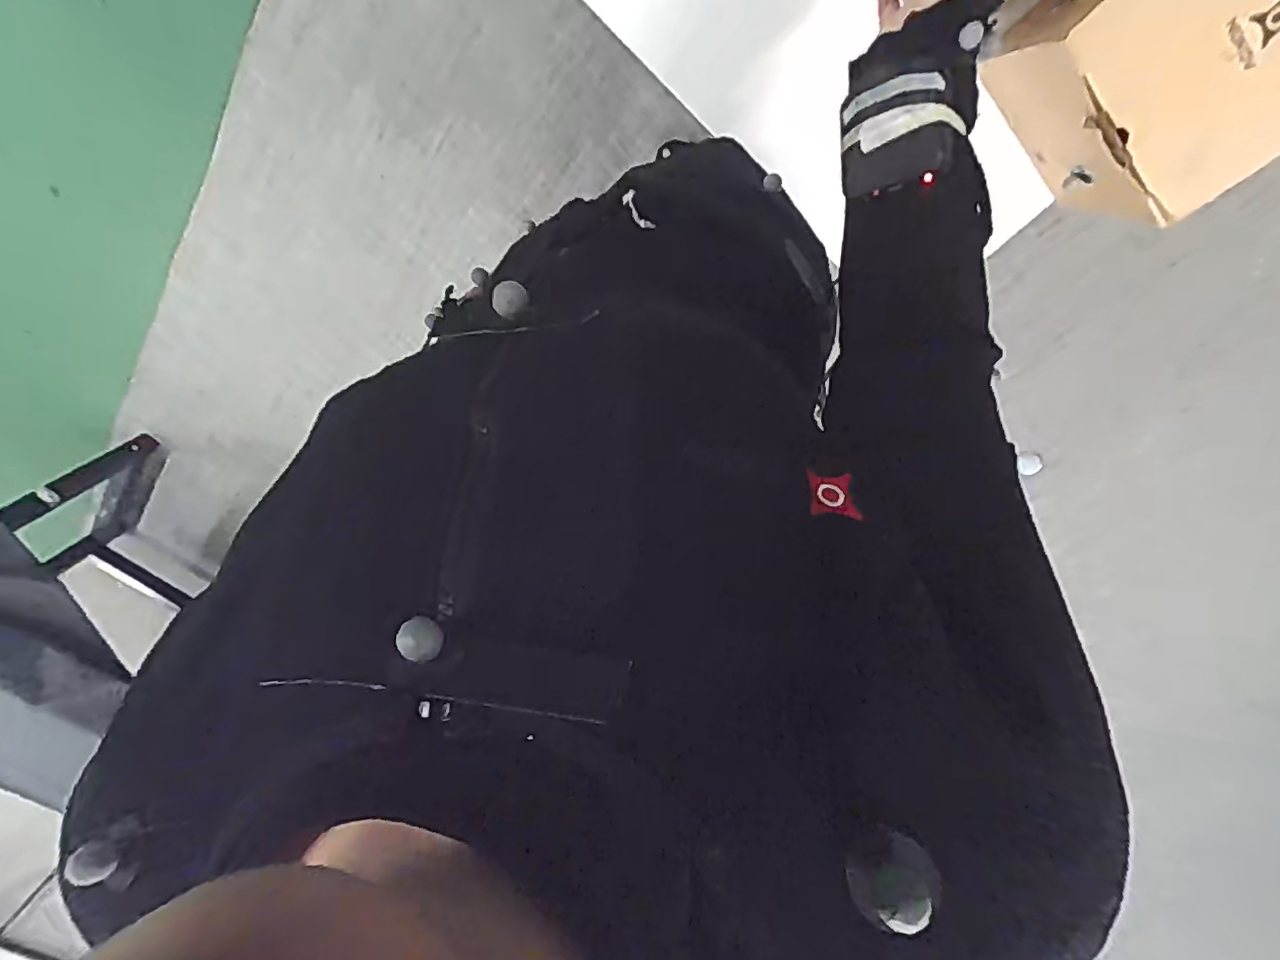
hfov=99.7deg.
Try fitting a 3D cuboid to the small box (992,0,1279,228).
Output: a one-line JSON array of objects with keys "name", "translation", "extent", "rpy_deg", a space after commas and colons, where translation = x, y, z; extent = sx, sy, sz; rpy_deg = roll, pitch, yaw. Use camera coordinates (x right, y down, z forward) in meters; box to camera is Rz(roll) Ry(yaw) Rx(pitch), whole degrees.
[{"name": "small box", "translation": [0.406, -0.327, 0.408], "extent": [0.168, 0.176, 0.179], "rpy_deg": [41, 119, -18]}]
